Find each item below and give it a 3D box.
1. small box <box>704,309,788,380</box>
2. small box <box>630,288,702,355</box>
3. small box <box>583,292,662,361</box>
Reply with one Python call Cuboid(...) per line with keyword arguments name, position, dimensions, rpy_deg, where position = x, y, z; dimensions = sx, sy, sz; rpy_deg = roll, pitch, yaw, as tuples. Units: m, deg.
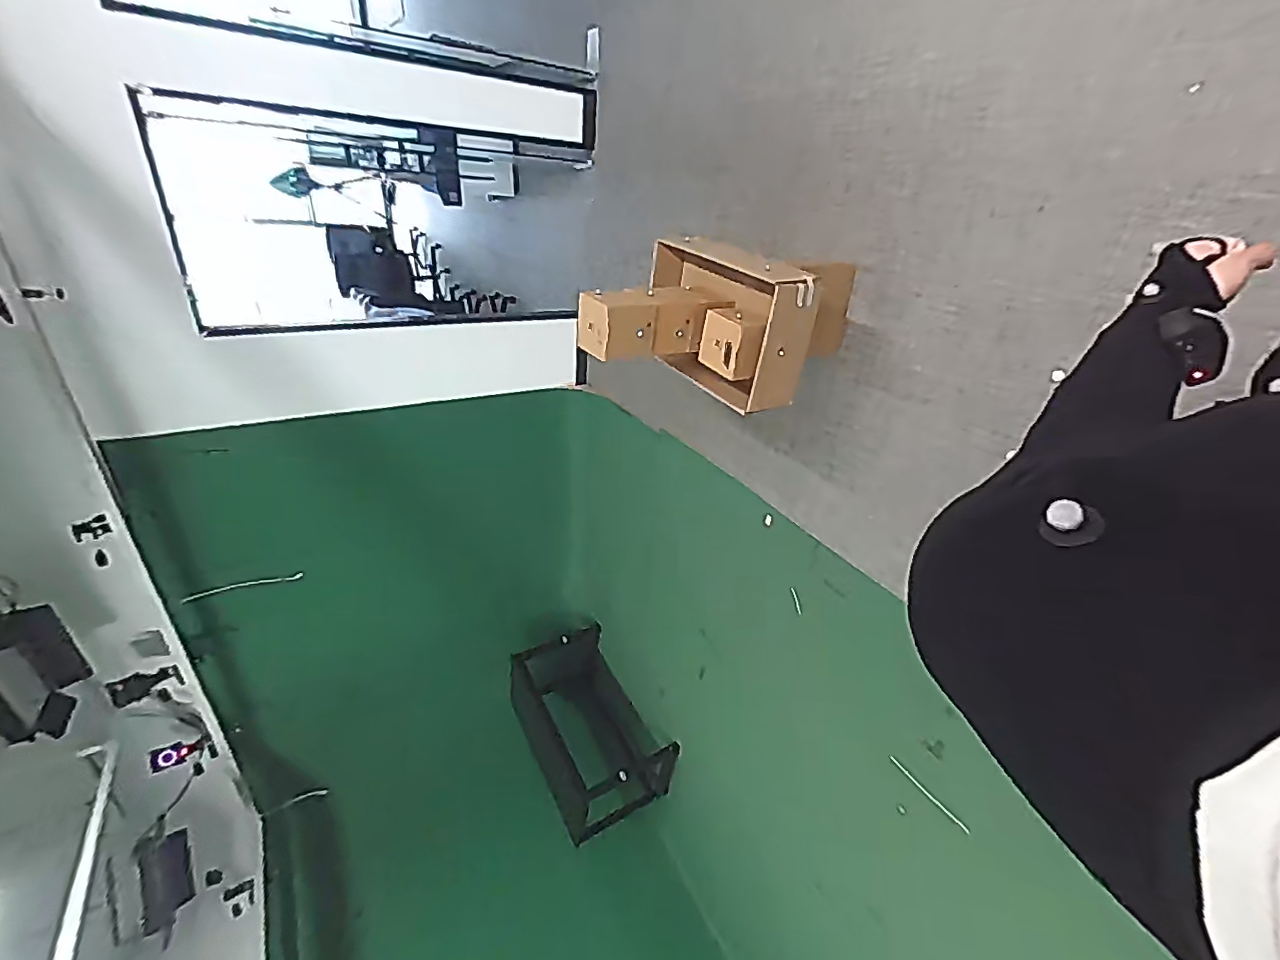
Cuboid(name="small box", position=(0.326, -0.425, 1.666), dimensions=(0.179, 0.176, 0.168), rpy_deg=(47, 138, 45))
Cuboid(name="small box", position=(0.073, -0.515, 1.751), dimensions=(0.179, 0.176, 0.168), rpy_deg=(42, 135, 43))
Cuboid(name="small box", position=(-0.057, -0.475, 1.657), dimensions=(0.179, 0.176, 0.168), rpy_deg=(40, 134, 44))
